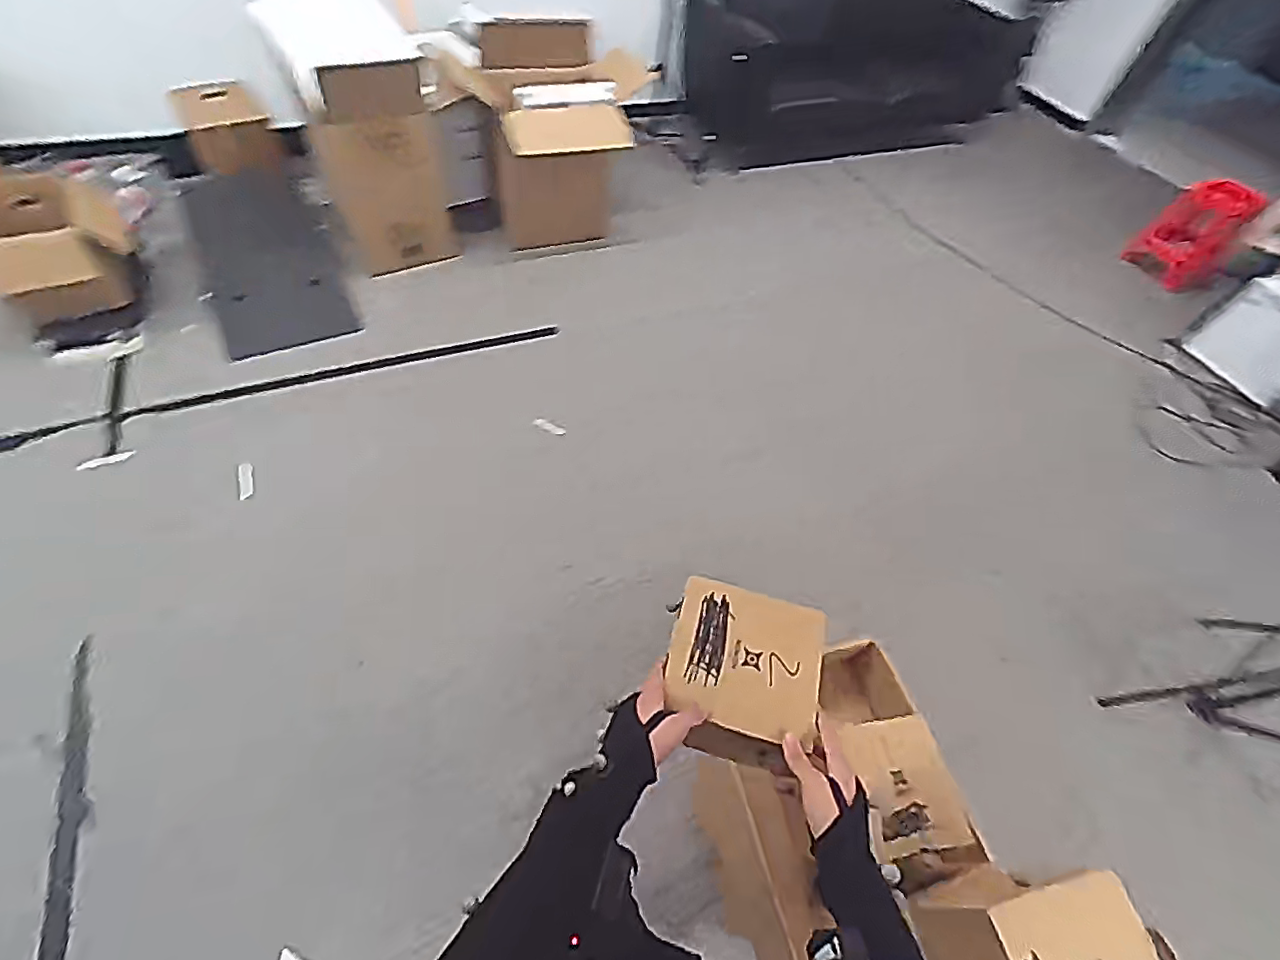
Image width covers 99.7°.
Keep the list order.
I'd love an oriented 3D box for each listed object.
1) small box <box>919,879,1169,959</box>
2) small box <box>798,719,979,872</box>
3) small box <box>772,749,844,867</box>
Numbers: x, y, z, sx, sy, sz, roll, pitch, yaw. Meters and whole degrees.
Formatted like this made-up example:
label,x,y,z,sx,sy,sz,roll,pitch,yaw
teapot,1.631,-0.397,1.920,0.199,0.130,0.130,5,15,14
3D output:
label,x,y,z,sx,sy,sz,roll,pitch,yaw
small box,0.459,0.561,0.600,0.179,0.176,0.168,-6,54,-13
small box,0.371,0.491,0.846,0.168,0.176,0.179,-3,56,-10
small box,0.366,0.578,0.986,0.168,0.176,0.179,-7,58,-13
